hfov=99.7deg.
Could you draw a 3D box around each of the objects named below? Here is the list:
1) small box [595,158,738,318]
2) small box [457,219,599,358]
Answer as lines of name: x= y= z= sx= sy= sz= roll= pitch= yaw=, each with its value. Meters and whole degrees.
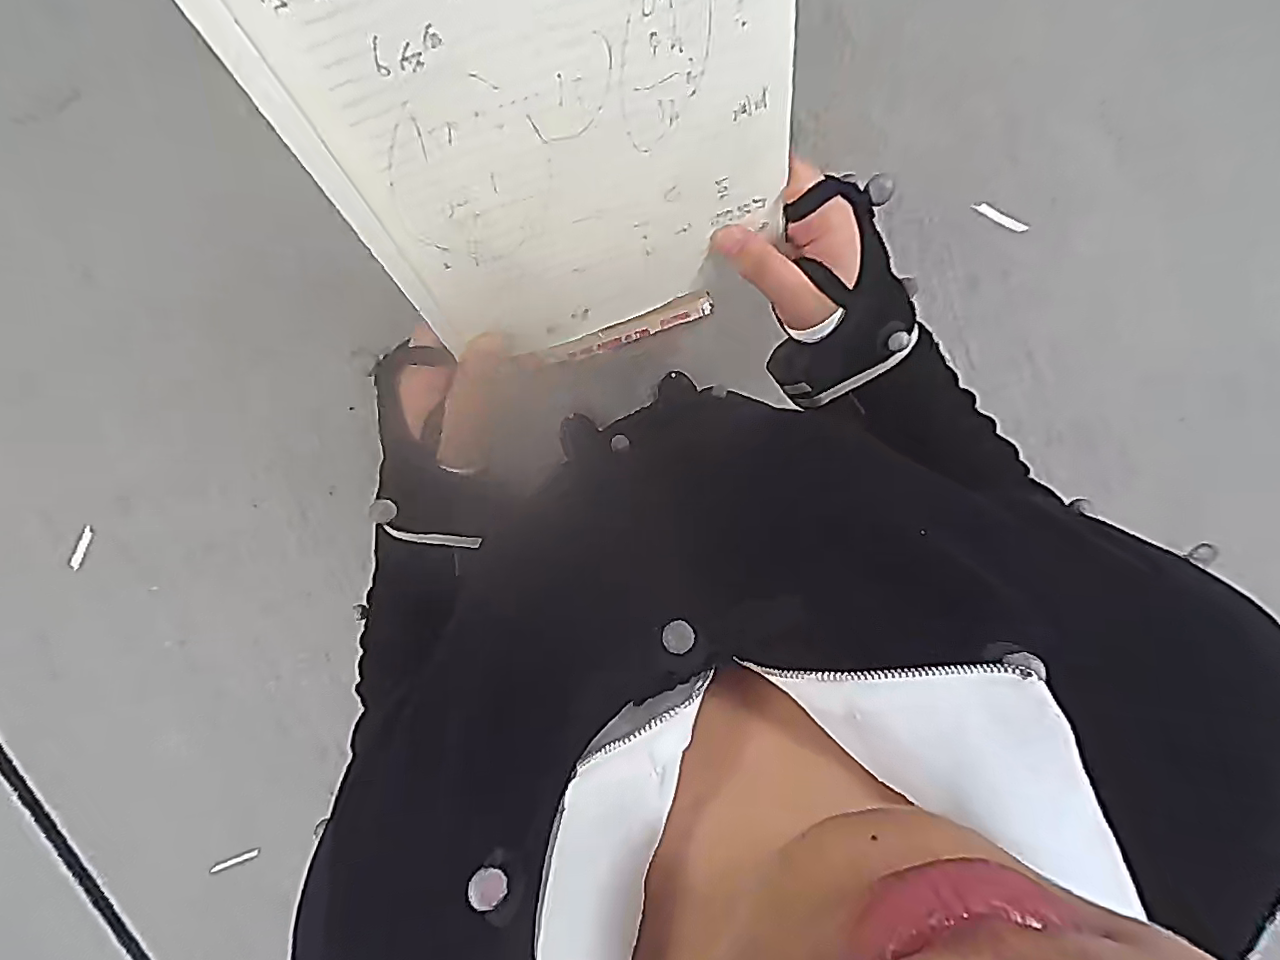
small box: x=0.034 y=-0.379 z=0.879 sx=0.179 sy=0.176 sz=0.168 roll=-23 pitch=101 yaw=0
small box: x=-0.168 y=-0.300 z=0.880 sx=0.179 sy=0.176 sz=0.168 roll=-14 pitch=101 yaw=1
